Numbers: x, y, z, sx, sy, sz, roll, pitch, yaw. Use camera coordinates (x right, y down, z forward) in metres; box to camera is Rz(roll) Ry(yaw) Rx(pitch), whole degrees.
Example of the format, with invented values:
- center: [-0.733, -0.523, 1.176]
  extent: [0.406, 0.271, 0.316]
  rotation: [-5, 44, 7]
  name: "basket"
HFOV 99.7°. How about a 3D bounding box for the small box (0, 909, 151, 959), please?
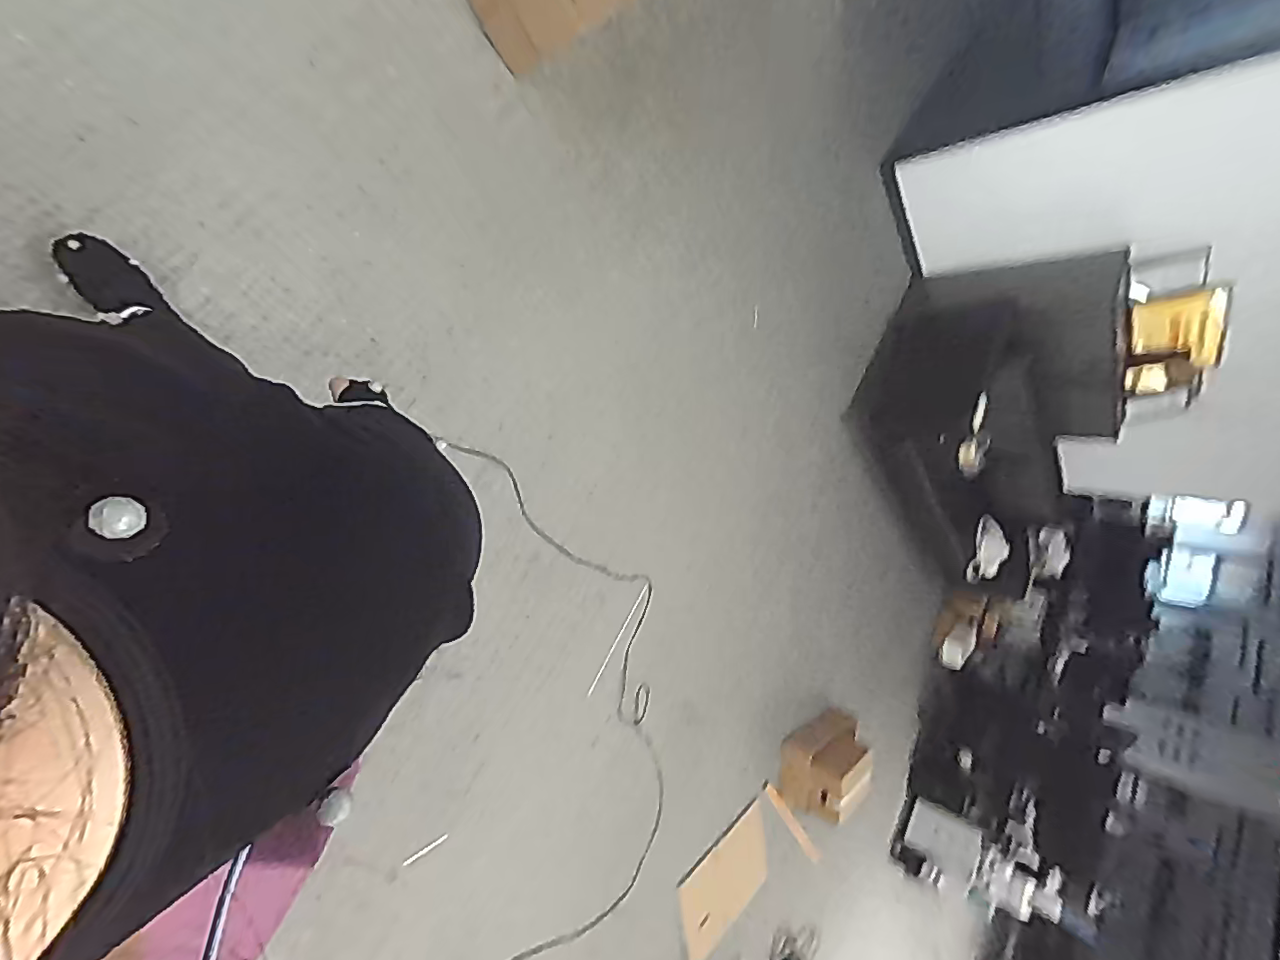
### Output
- center: [-0.608, 0.547, 0.508]
  extent: [0.179, 0.176, 0.168]
  rotation: [46, 66, -38]
  name: "small box"
